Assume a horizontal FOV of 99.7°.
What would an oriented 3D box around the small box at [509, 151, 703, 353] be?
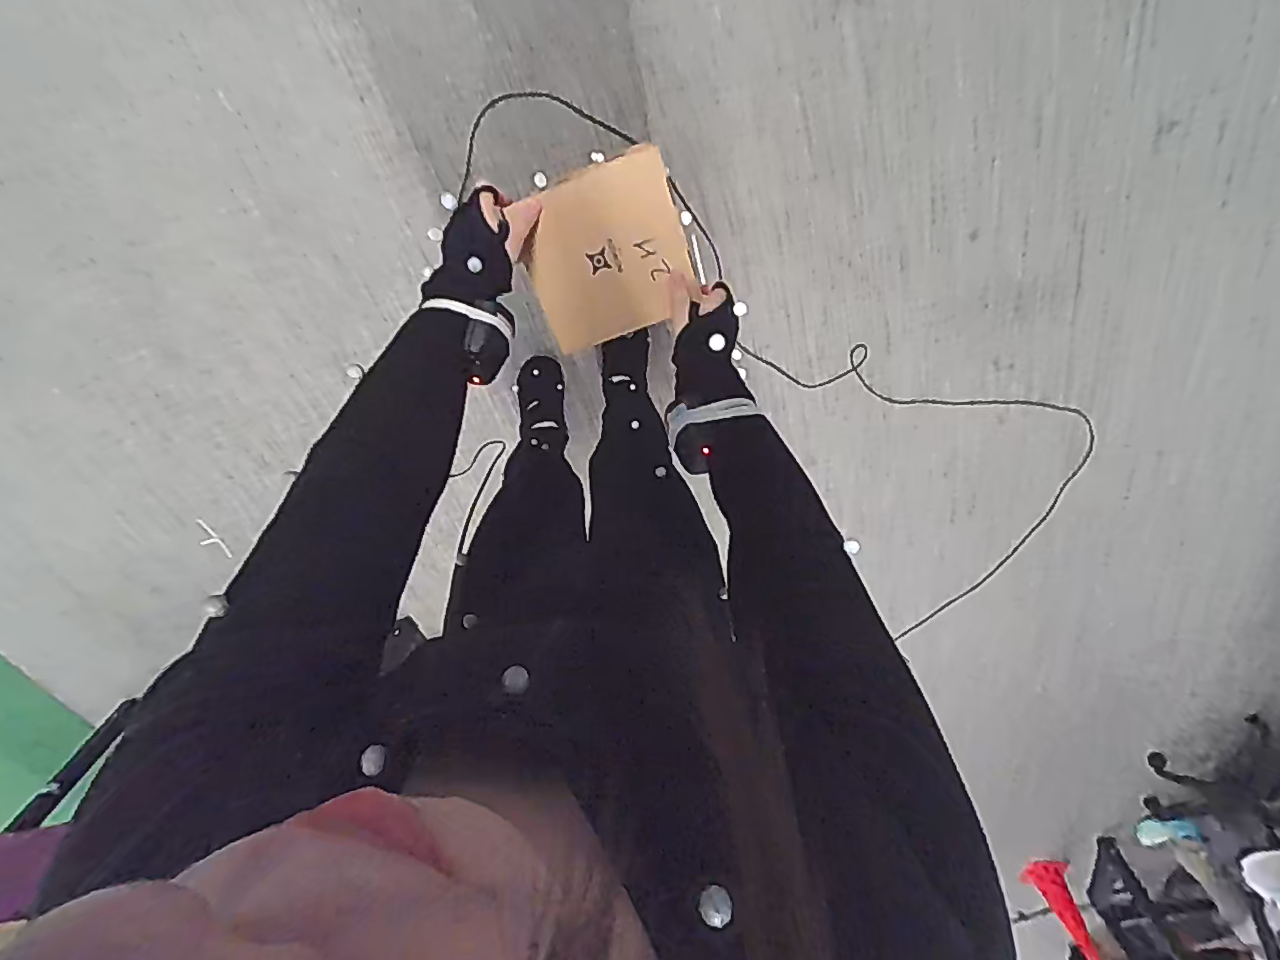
[{"bbox_3d":[-0.031,-0.279,0.661,0.179,0.176,0.168,-17,119,11],"label":"small box"}]
